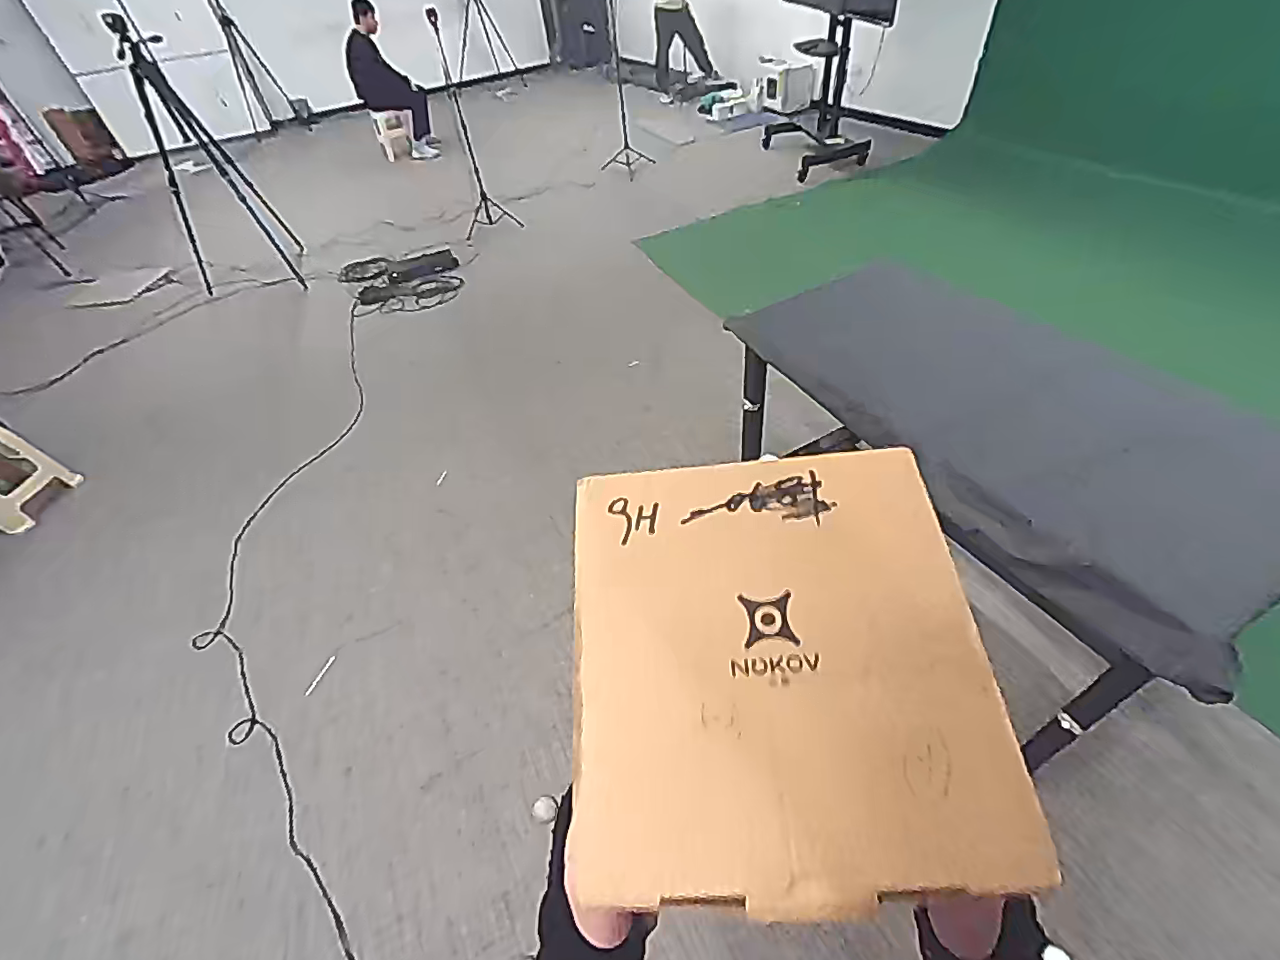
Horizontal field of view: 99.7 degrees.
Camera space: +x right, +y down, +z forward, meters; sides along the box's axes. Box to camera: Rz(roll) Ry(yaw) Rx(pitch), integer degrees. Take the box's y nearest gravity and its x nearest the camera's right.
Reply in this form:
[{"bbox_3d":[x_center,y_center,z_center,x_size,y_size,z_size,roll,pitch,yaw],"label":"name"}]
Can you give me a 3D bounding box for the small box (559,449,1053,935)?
[{"bbox_3d":[0.056,0.104,0.286,0.168,0.176,0.179,-4,63,2],"label":"small box"}]
